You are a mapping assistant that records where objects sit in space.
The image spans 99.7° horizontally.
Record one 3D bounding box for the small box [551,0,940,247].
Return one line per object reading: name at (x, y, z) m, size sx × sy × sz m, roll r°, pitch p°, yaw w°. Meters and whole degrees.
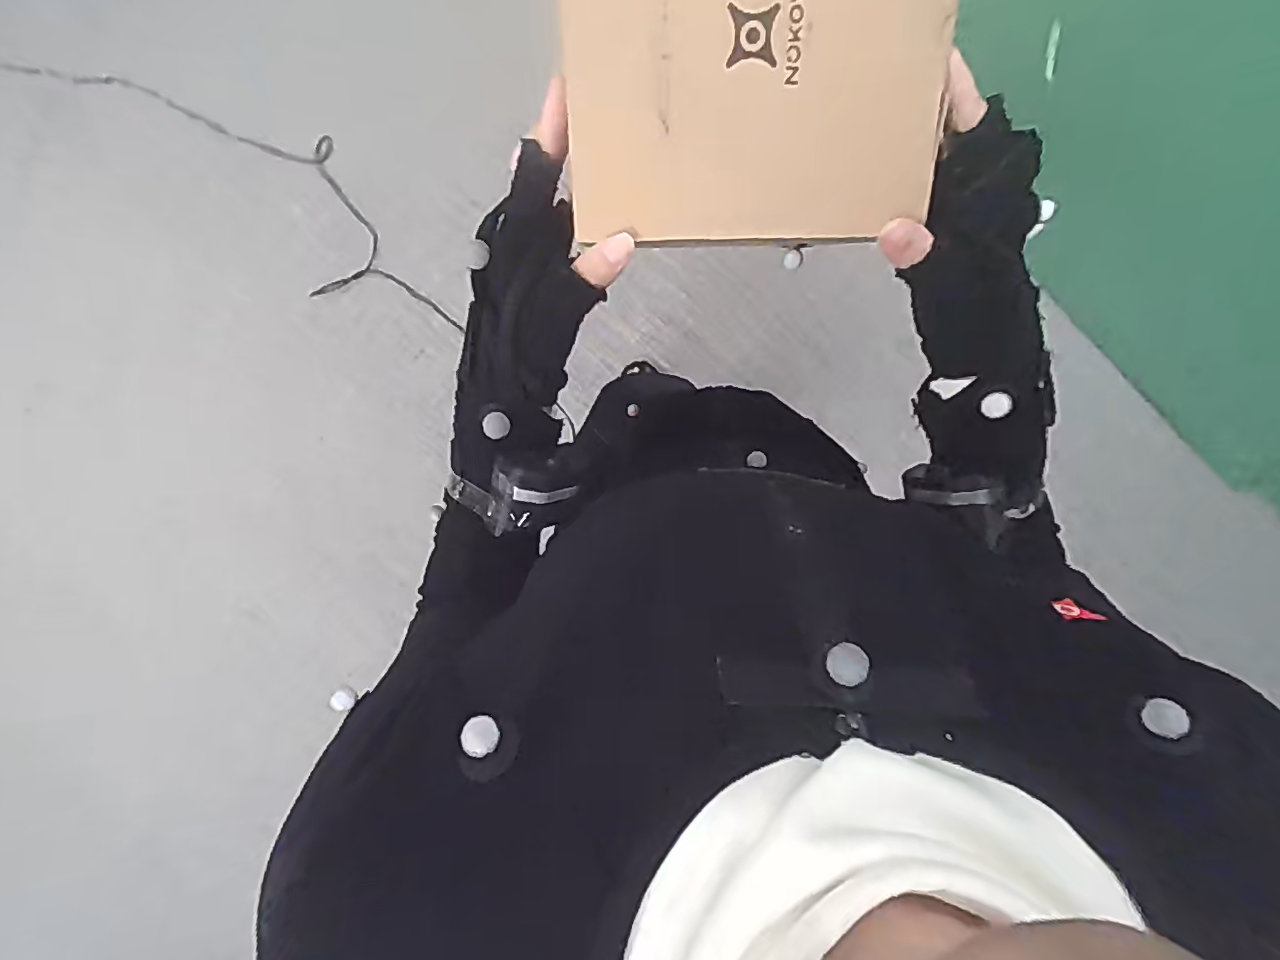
small box at (0.046, -0.232, 0.316) m, size 0.179 × 0.176 × 0.168 m, roll -3°, pitch 111°, yaw 1°
